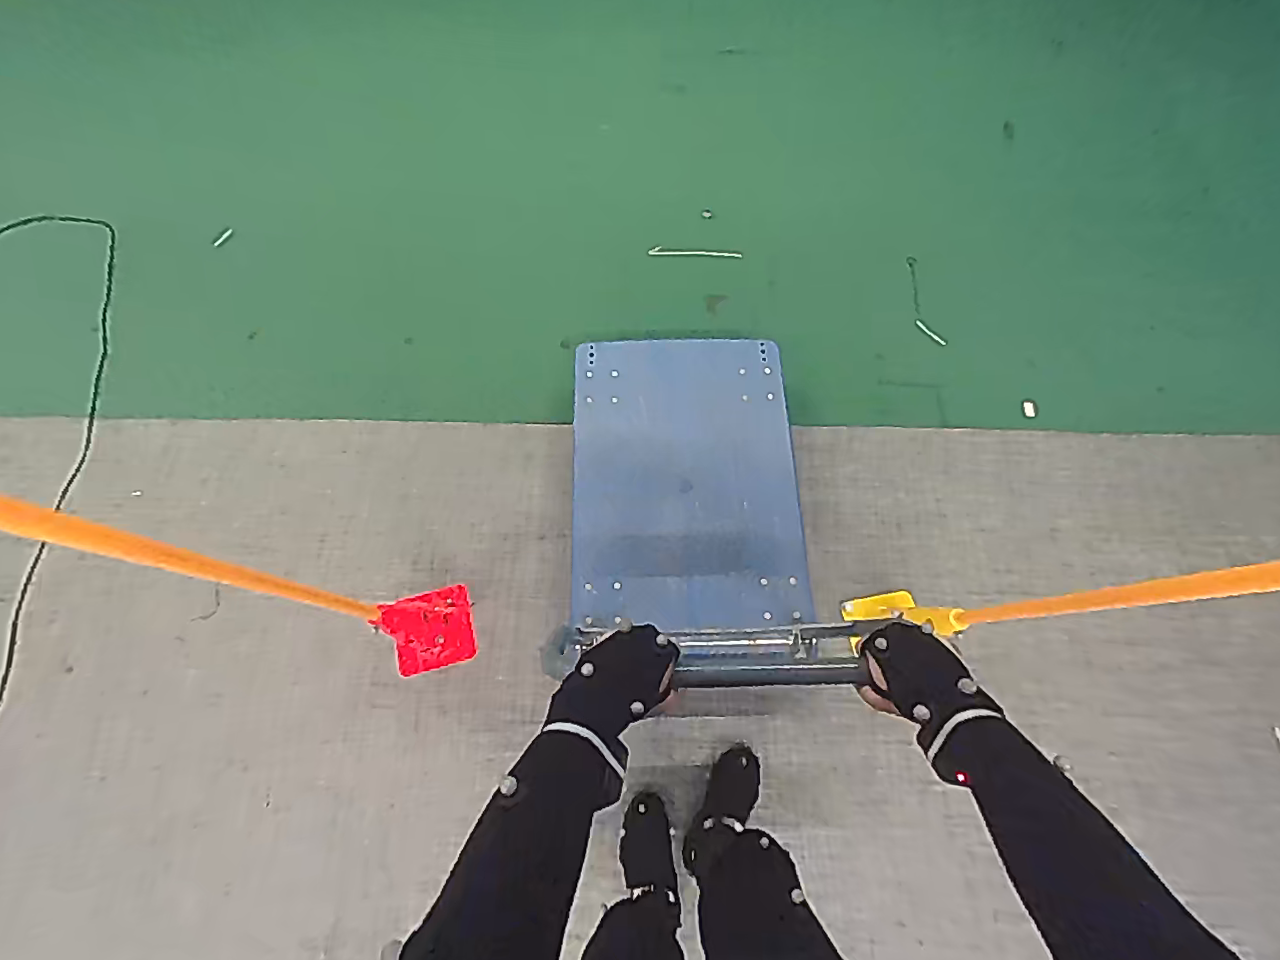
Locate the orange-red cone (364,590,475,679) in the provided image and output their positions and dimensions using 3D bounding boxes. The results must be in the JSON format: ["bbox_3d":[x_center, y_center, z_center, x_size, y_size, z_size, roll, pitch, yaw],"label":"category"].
[{"bbox_3d":[-0.536,0.338,1.244,0.199,0.360,0.198,-14,70,-4],"label":"orange-red cone"}]
